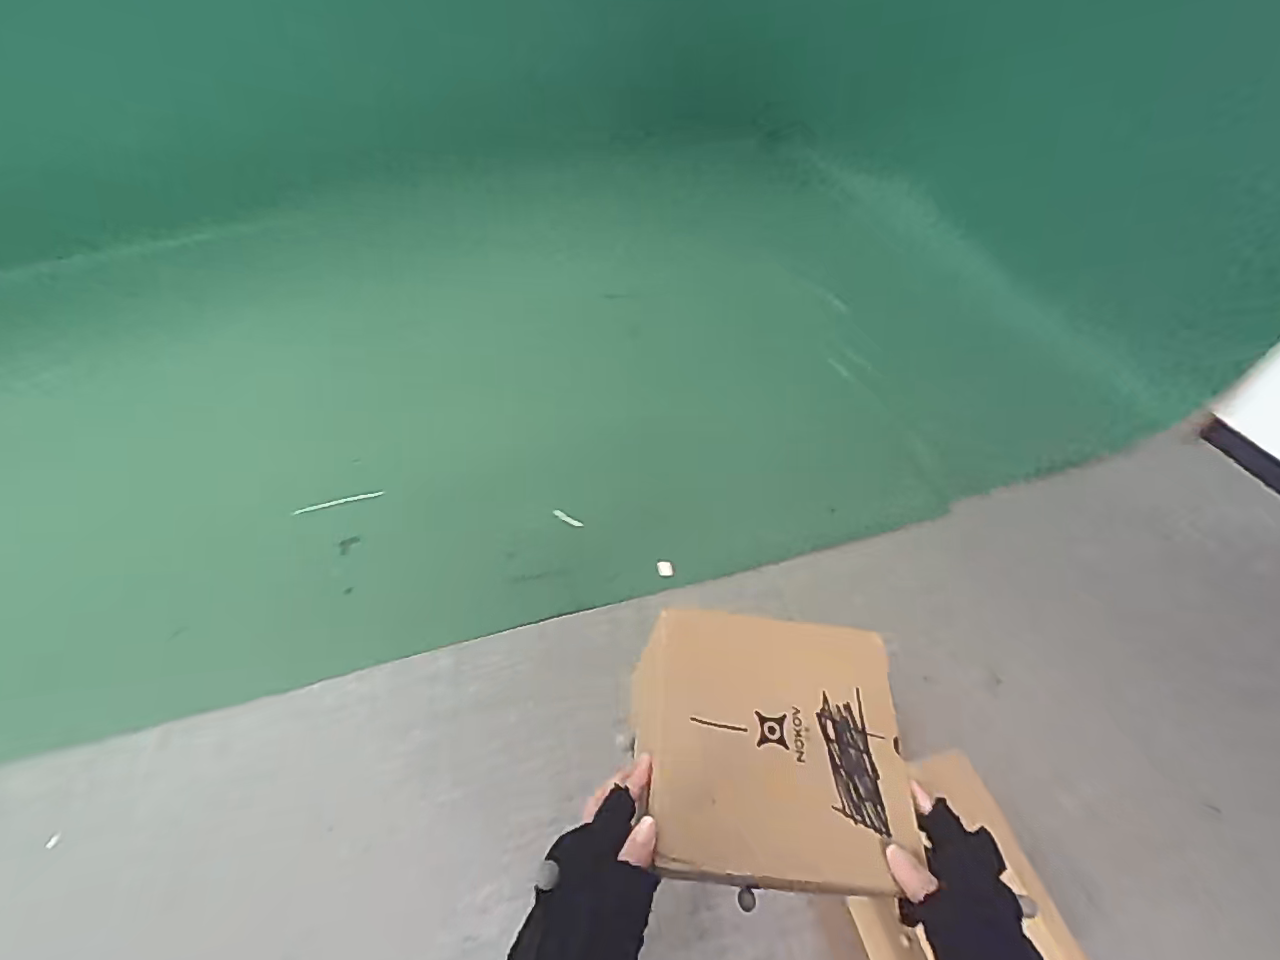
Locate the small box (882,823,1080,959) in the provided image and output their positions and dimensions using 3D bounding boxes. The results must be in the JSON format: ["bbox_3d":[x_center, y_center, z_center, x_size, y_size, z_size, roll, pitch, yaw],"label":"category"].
[{"bbox_3d":[0.469,0.626,0.778,0.168,0.176,0.179,-16,51,-3],"label":"small box"}]

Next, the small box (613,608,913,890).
[{"bbox_3d":[0.078,0.220,0.436,0.179,0.176,0.168,6,53,-4],"label":"small box"}]
